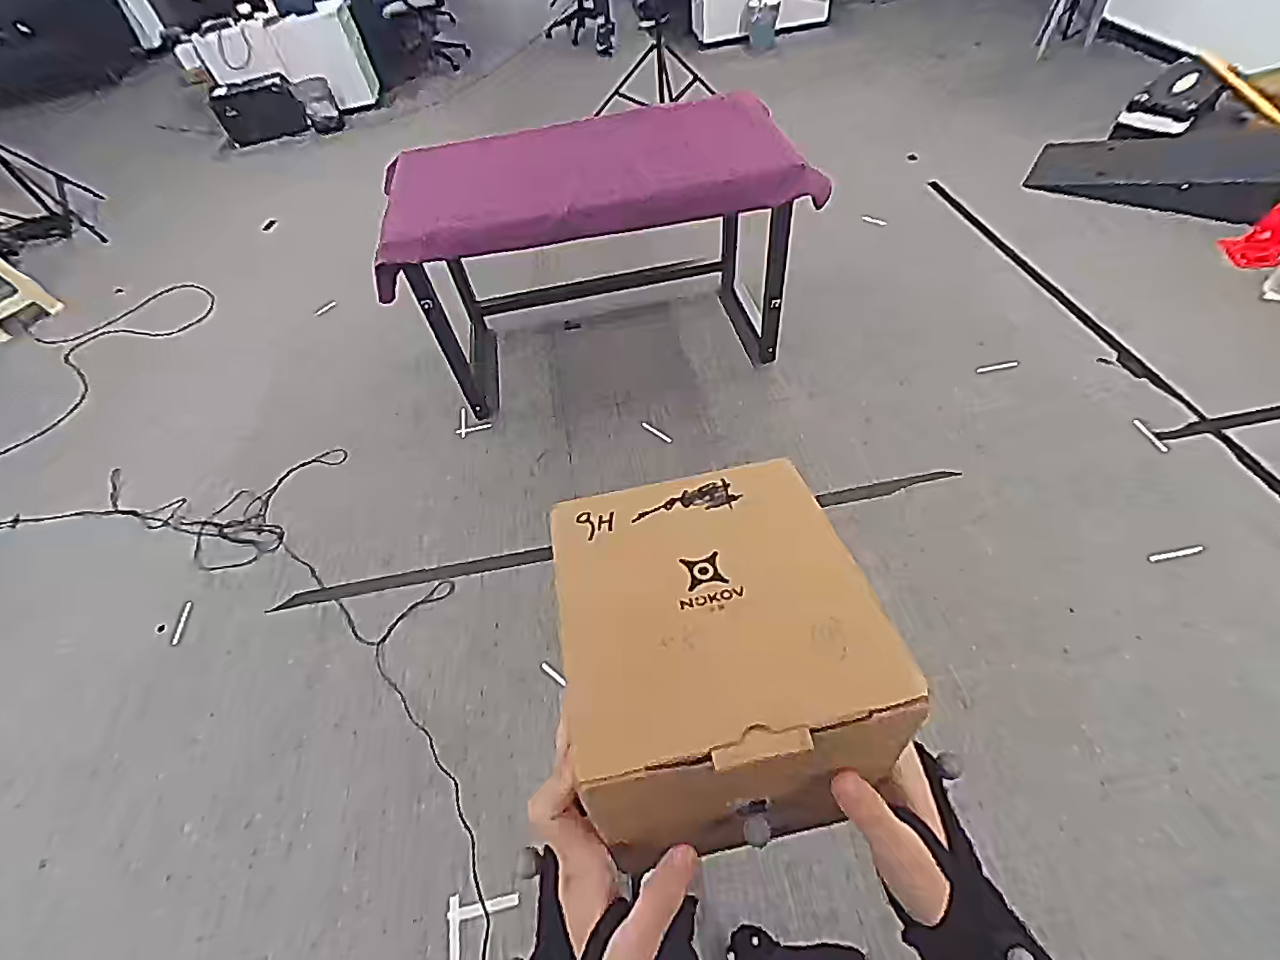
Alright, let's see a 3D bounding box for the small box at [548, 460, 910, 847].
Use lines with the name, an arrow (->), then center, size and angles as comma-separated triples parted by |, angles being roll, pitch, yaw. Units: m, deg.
small box -> 0.041, 0.117, 0.358 | 0.168, 0.176, 0.179 | -11, 44, -4
